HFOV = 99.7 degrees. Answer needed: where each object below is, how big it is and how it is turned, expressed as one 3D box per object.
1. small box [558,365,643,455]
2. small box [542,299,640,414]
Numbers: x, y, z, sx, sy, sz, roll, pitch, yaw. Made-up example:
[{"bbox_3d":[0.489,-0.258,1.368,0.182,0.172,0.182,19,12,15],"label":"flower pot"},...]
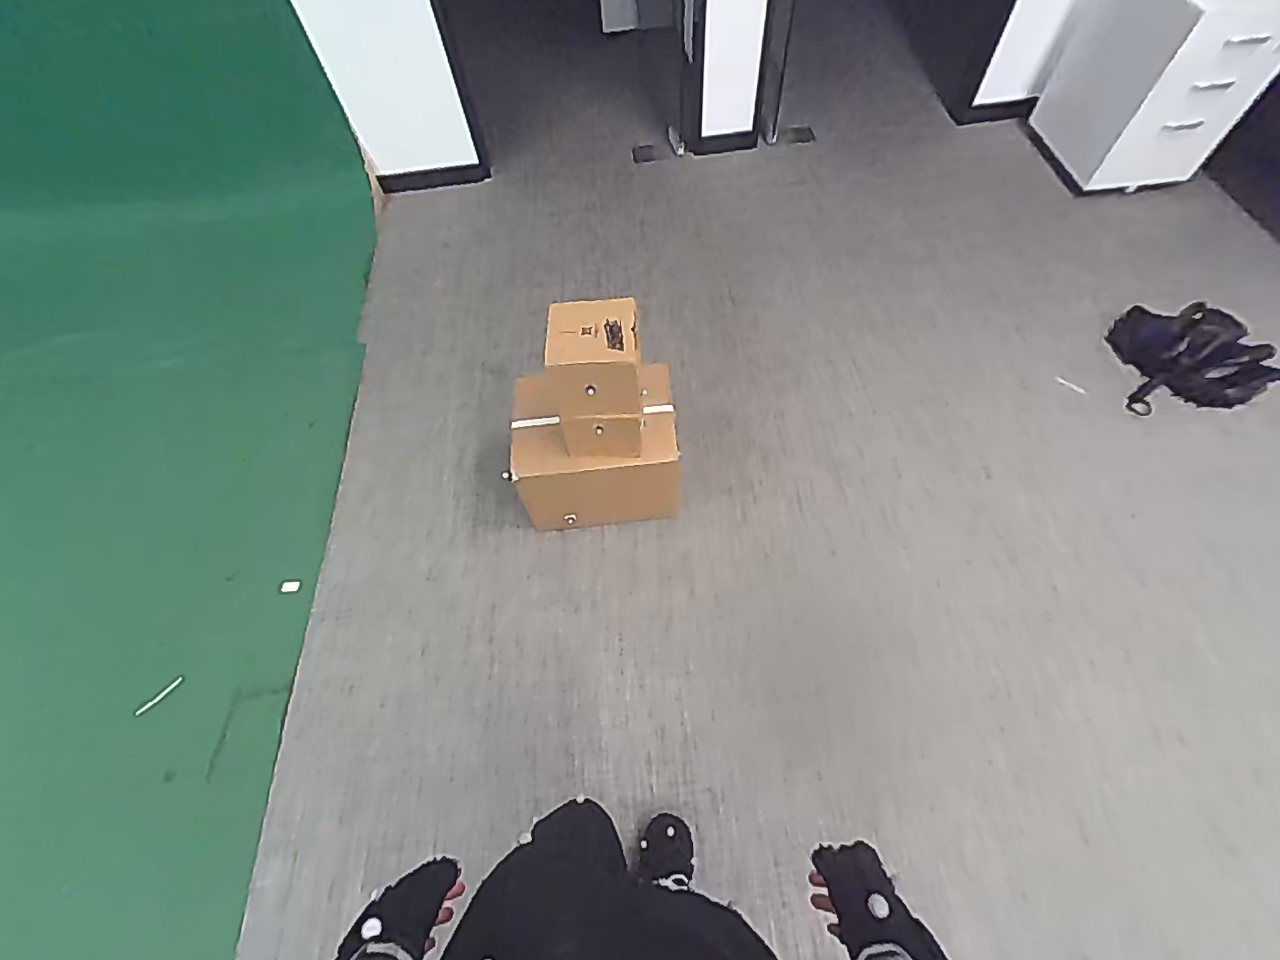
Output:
[{"bbox_3d":[-0.085,-0.168,1.260,0.179,0.176,0.168,0,63,2],"label":"small box"},{"bbox_3d":[-0.091,-0.249,1.118,0.179,0.176,0.168,-2,62,5],"label":"small box"}]
